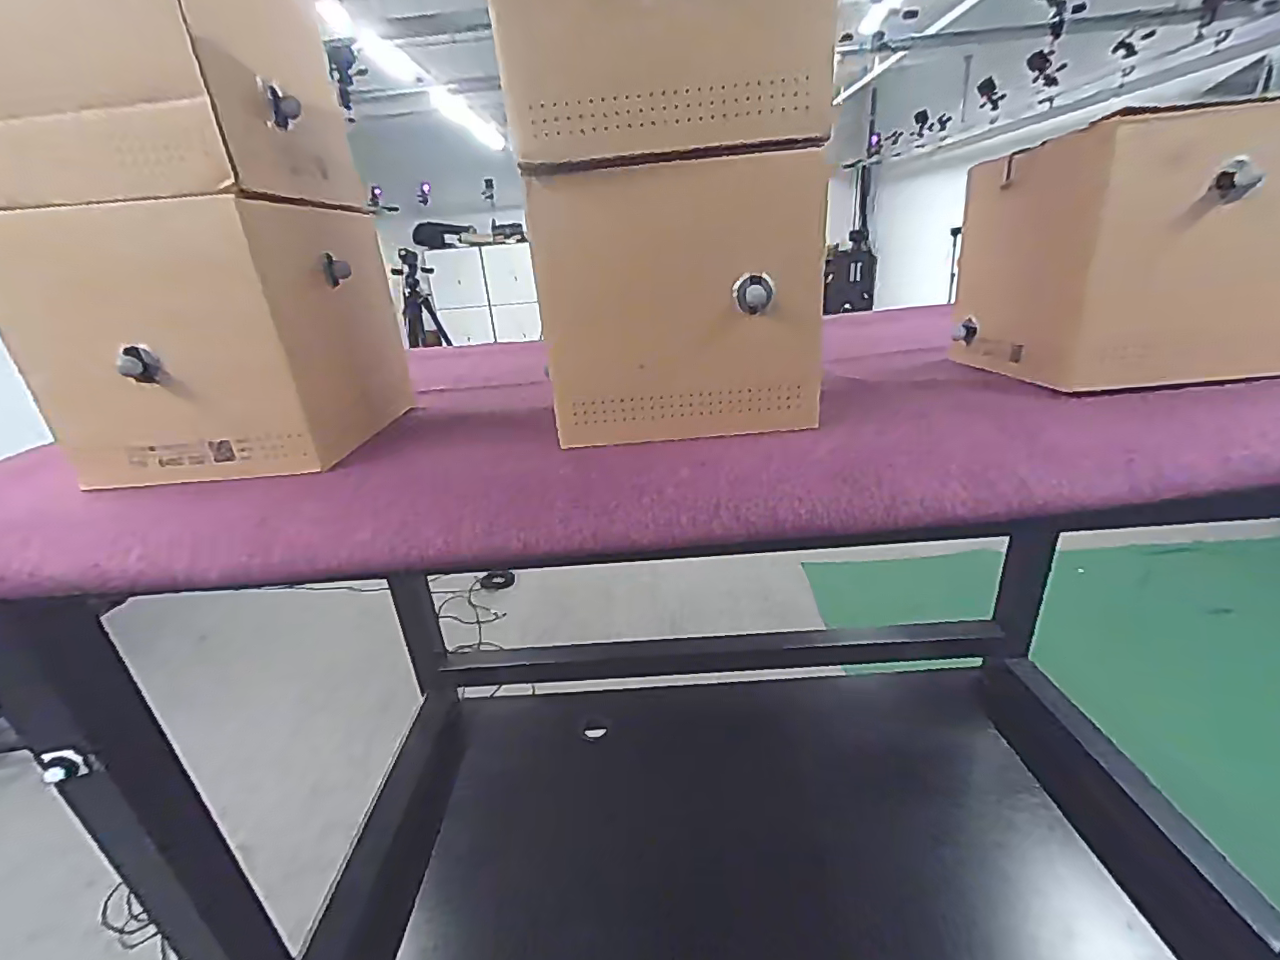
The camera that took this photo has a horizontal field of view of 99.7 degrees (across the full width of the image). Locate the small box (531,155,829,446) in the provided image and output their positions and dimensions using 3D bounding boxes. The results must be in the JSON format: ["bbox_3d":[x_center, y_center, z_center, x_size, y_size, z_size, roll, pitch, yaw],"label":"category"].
[{"bbox_3d":[0.028,-0.133,0.414,0.179,0.176,0.168,-5,22,1],"label":"small box"}]

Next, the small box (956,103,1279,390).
[{"bbox_3d":[0.375,-0.169,0.425,0.179,0.176,0.168,-3,20,3],"label":"small box"}]

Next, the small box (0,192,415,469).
[{"bbox_3d":[-0.293,-0.111,0.413,0.168,0.176,0.179,-3,22,0],"label":"small box"}]

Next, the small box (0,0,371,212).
[{"bbox_3d":[-0.309,-0.260,0.350,0.179,0.176,0.168,-4,23,-2],"label":"small box"}]
